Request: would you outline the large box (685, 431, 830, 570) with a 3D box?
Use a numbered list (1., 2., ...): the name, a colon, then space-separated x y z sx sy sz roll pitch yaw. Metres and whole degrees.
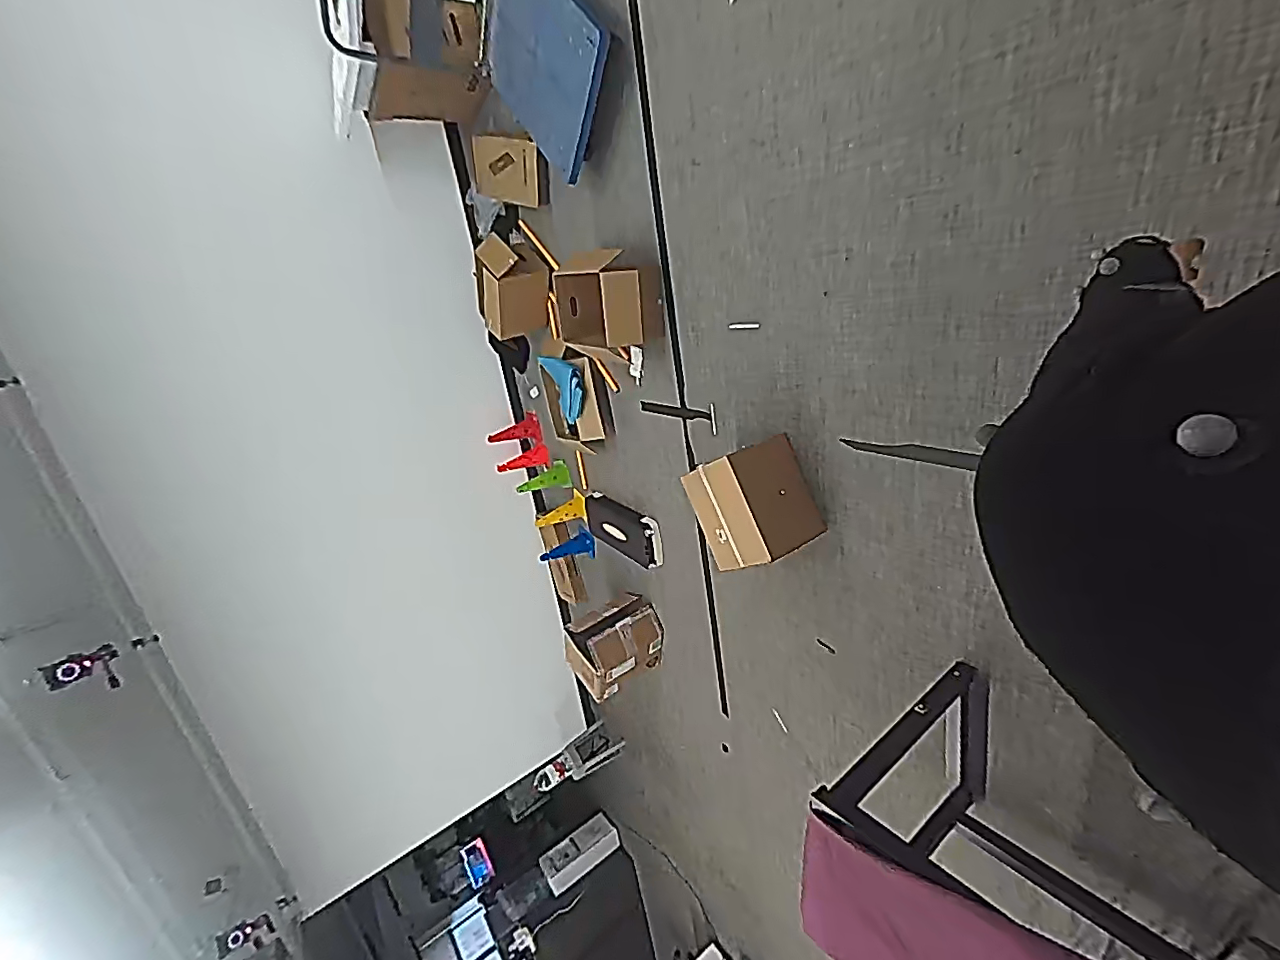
1. large box: 0.440 0.080 2.051 0.320 0.320 0.408 -29 84 60
